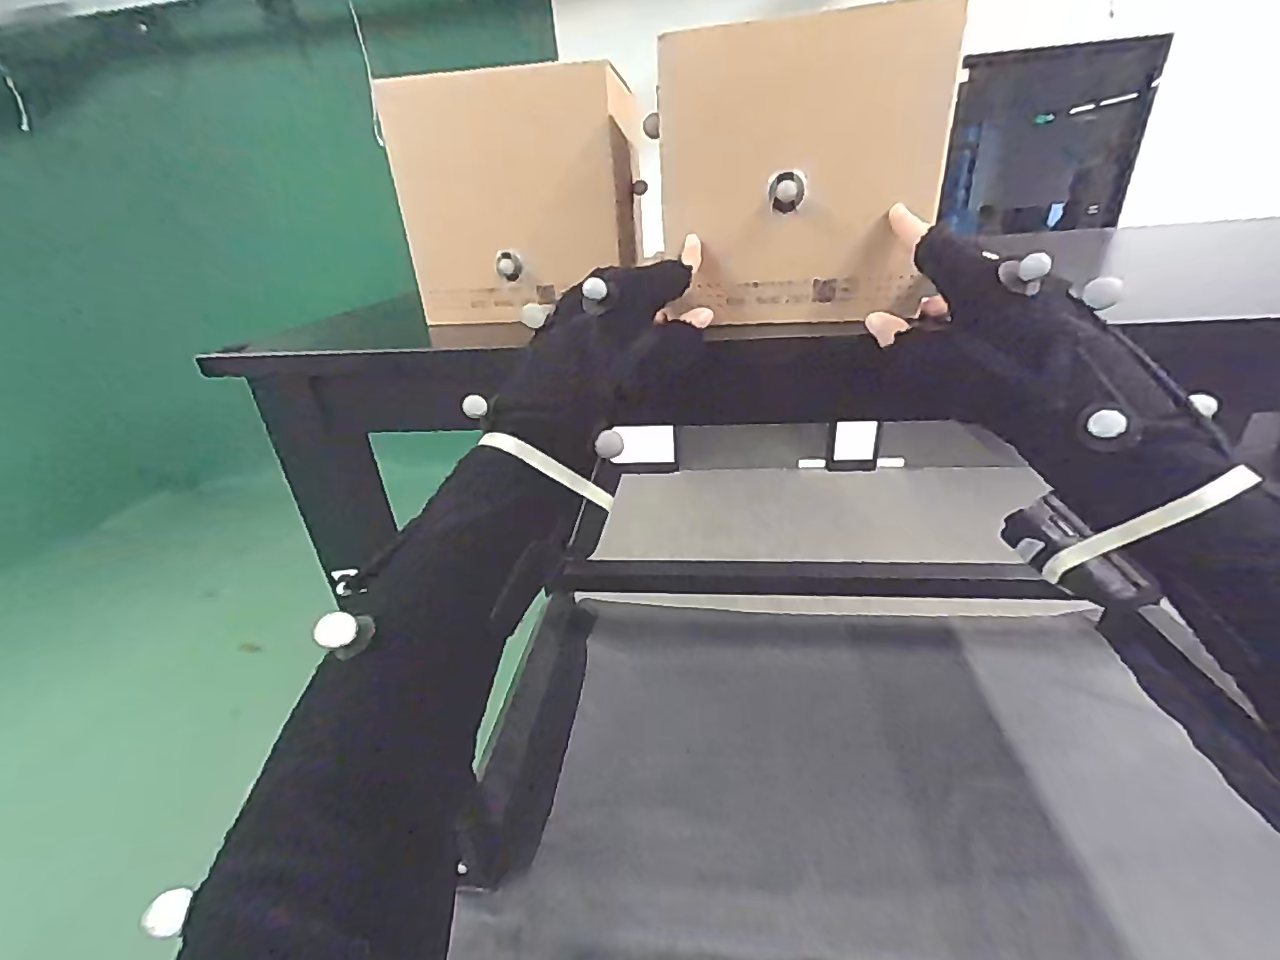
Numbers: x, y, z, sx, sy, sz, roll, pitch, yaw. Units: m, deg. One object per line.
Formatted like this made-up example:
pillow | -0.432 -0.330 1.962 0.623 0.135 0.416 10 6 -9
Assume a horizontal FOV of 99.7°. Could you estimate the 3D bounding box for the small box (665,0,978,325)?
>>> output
small box | 0.115 -0.213 0.396 0.168 0.176 0.179 3 27 11
